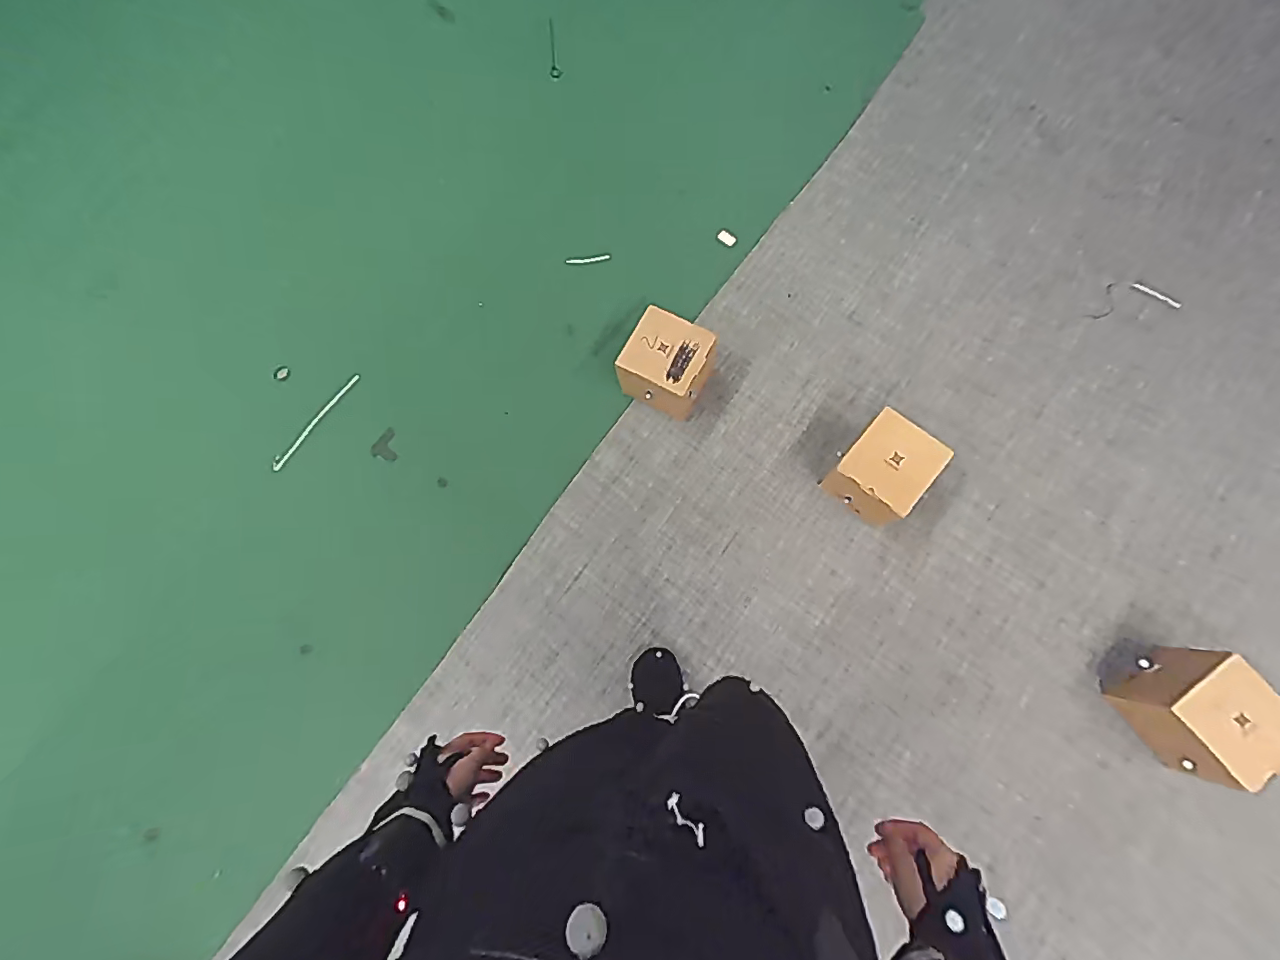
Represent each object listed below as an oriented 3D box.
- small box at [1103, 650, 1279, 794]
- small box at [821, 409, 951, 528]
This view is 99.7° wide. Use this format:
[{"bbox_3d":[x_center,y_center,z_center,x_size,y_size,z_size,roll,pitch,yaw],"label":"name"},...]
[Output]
[{"bbox_3d":[1.055,0.441,1.022,0.168,0.176,0.179,-37,75,-5],"label":"small box"},{"bbox_3d":[0.522,-0.018,1.177,0.168,0.176,0.179,39,83,12],"label":"small box"}]
